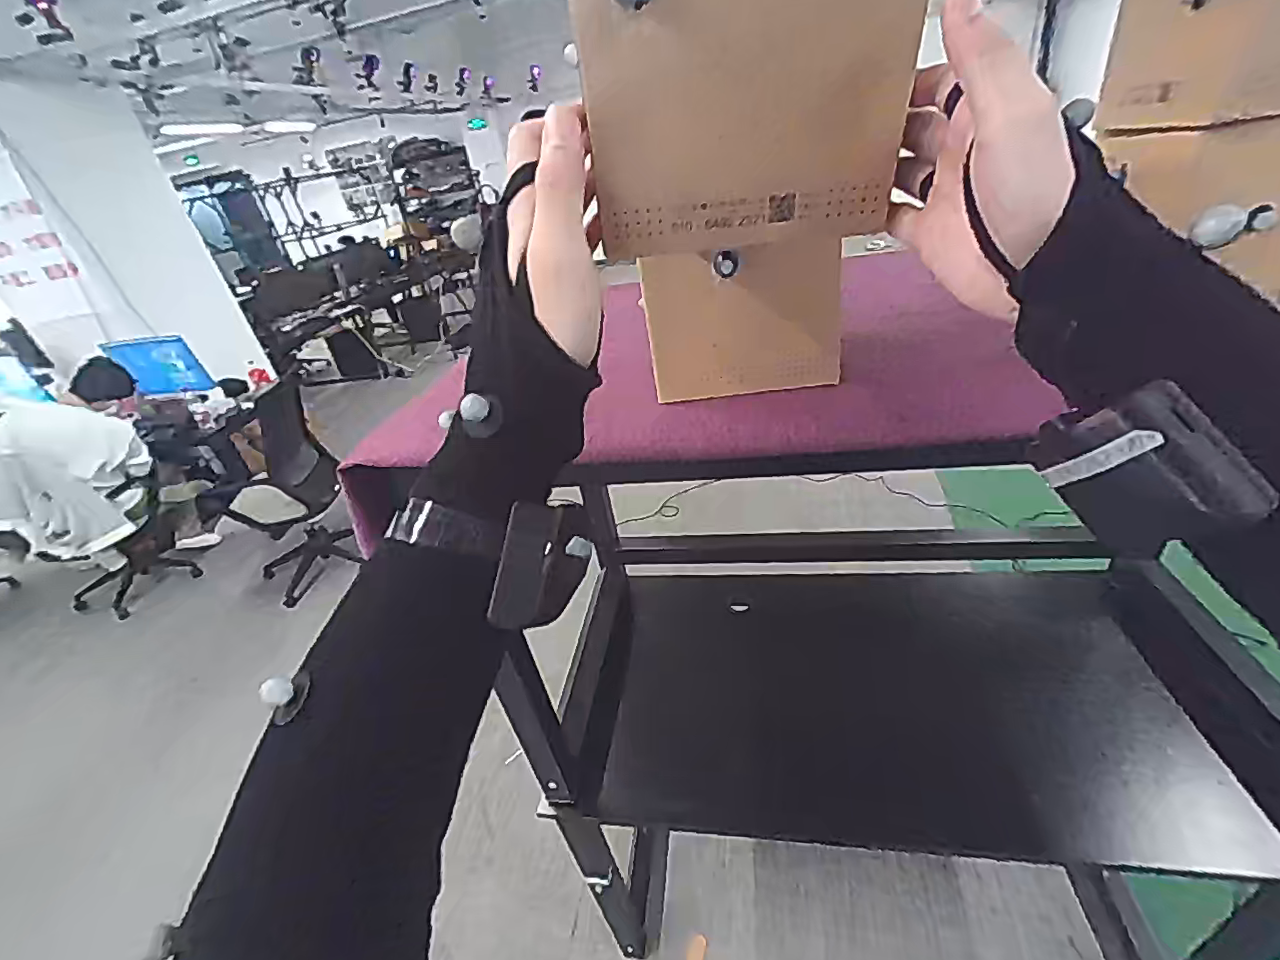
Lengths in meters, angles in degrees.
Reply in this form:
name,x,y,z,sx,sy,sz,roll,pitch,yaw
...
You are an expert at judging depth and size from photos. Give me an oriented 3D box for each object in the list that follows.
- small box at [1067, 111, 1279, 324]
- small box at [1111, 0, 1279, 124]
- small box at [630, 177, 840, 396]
name,x,y,z,sx,sy,sz,roll,pitch,yaw
small box,0.540,-0.249,0.502,0.168,0.176,0.179,-1,31,16
small box,0.508,-0.383,0.413,0.179,0.176,0.168,-3,32,13
small box,0.097,-0.194,0.549,0.179,0.176,0.168,-5,32,10
